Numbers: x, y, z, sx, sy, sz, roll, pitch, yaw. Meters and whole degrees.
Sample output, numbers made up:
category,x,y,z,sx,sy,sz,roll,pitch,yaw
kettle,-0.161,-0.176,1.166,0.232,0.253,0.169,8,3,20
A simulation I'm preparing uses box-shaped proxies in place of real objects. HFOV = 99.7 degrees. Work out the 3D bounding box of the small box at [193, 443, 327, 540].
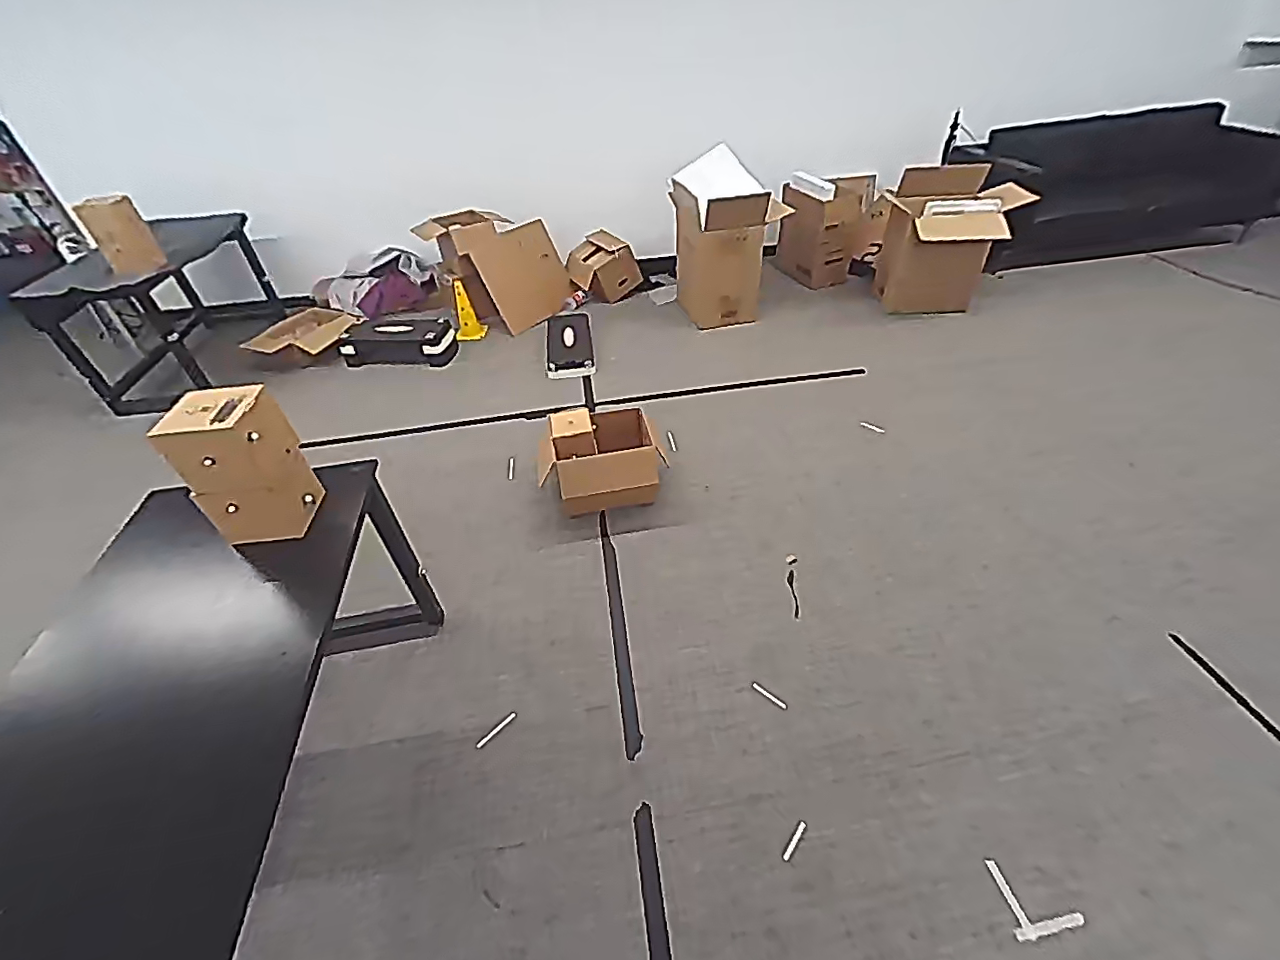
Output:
category,x,y,z,sx,sy,sz,roll,pitch,yaw
small box,-0.908,0.030,1.311,0.179,0.176,0.168,-5,43,-1
